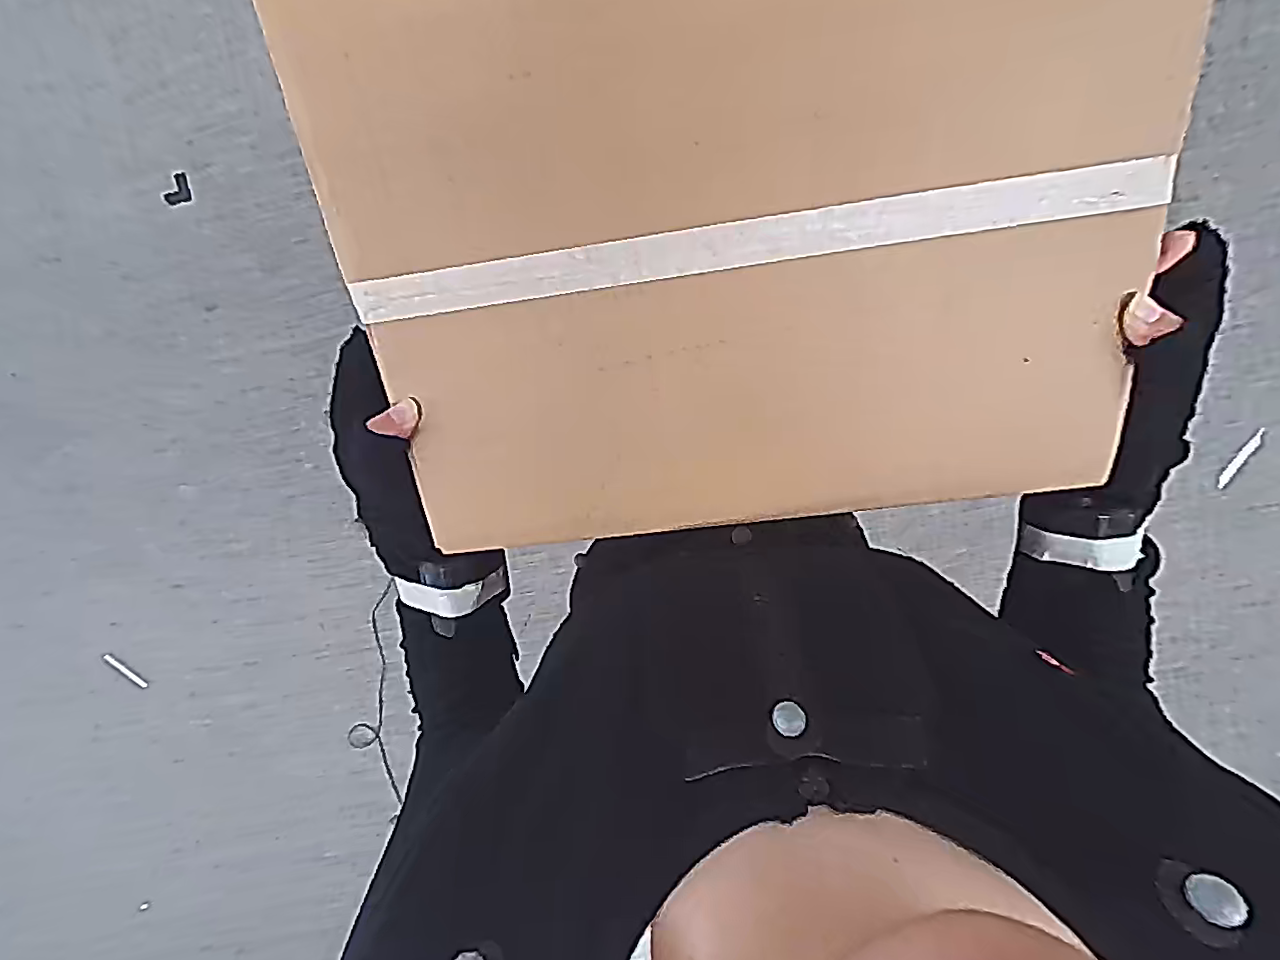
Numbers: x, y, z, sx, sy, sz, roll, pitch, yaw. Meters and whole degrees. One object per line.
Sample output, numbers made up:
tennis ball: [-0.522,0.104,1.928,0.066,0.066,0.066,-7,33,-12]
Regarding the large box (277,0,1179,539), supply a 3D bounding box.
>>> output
large box: [0.052,-0.182,0.417,0.408,0.320,0.320,-7,114,4]
